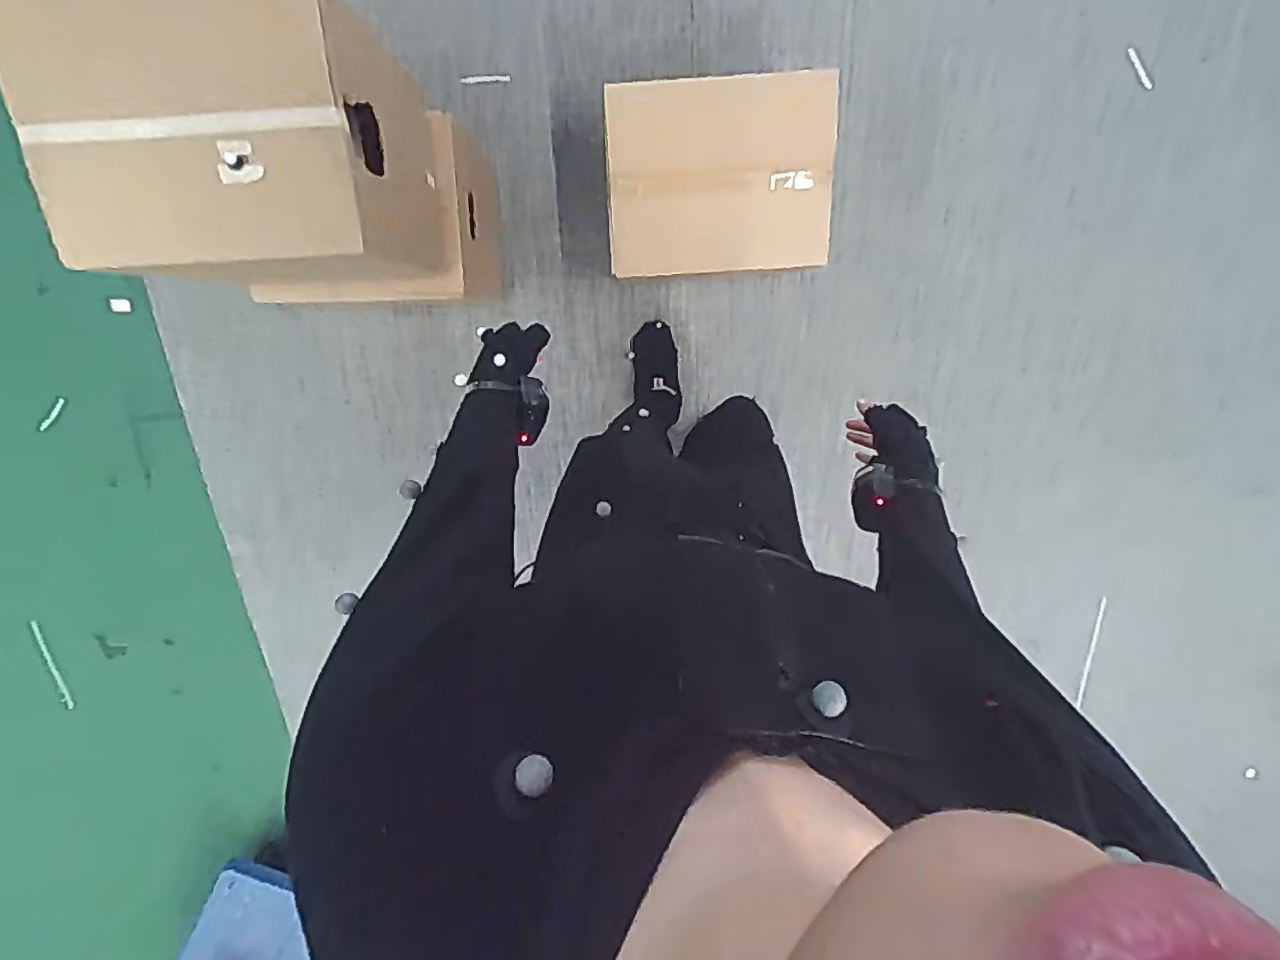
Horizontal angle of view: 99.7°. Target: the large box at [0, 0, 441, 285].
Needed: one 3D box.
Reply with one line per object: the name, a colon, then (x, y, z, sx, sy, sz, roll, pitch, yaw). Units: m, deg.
large box: (-0.563, -0.479, 0.810, 0.408, 0.320, 0.320, -2, 105, 0)
